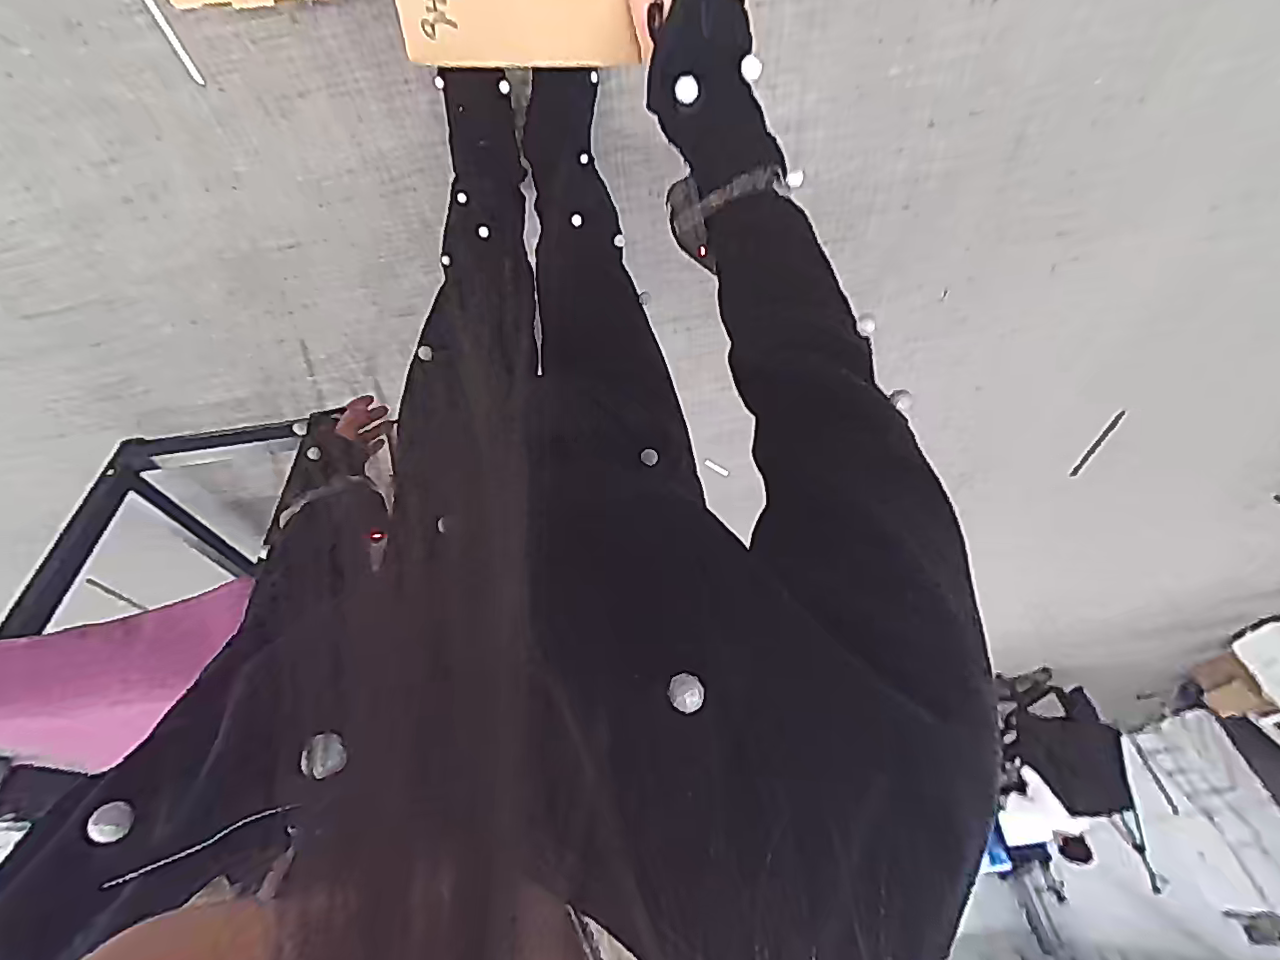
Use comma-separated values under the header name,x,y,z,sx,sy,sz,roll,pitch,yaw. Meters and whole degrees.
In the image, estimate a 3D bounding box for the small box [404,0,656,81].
name,x,y,z,sx,sy,sz,roll,pitch,yaw
small box,-0.088,-0.416,0.399,0.179,0.176,0.168,-7,139,-9

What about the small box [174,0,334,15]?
name,x,y,z,sx,sy,sz,roll,pitch,yaw
small box,-0.420,-0.619,0.561,0.168,0.176,0.179,-8,141,-3
